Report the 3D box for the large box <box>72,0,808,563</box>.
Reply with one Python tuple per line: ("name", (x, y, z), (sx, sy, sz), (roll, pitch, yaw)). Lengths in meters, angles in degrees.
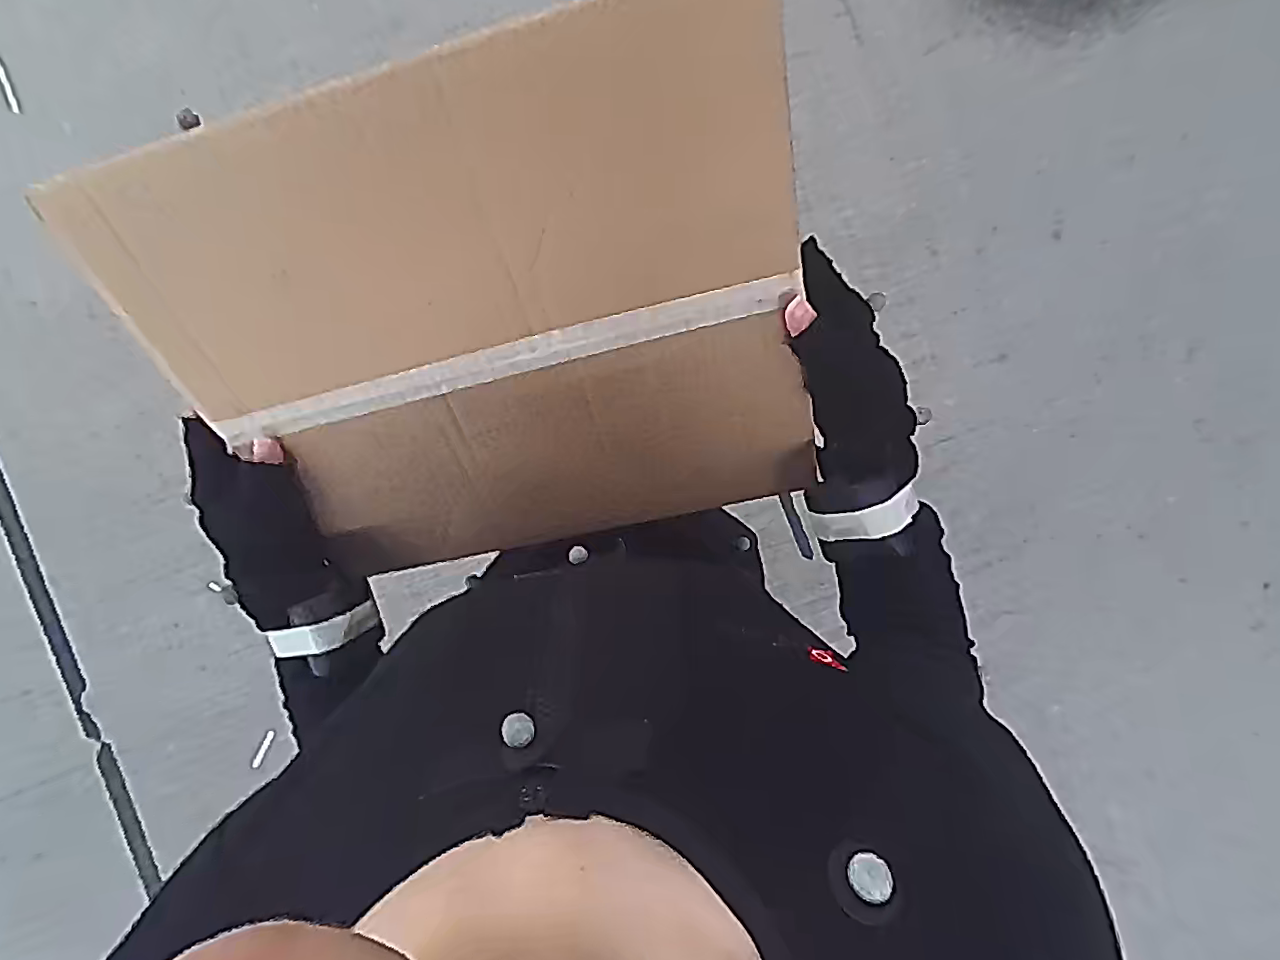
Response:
("large box", (-0.100, -0.173, 0.483), (0.408, 0.320, 0.320), (-12, 127, 7))
